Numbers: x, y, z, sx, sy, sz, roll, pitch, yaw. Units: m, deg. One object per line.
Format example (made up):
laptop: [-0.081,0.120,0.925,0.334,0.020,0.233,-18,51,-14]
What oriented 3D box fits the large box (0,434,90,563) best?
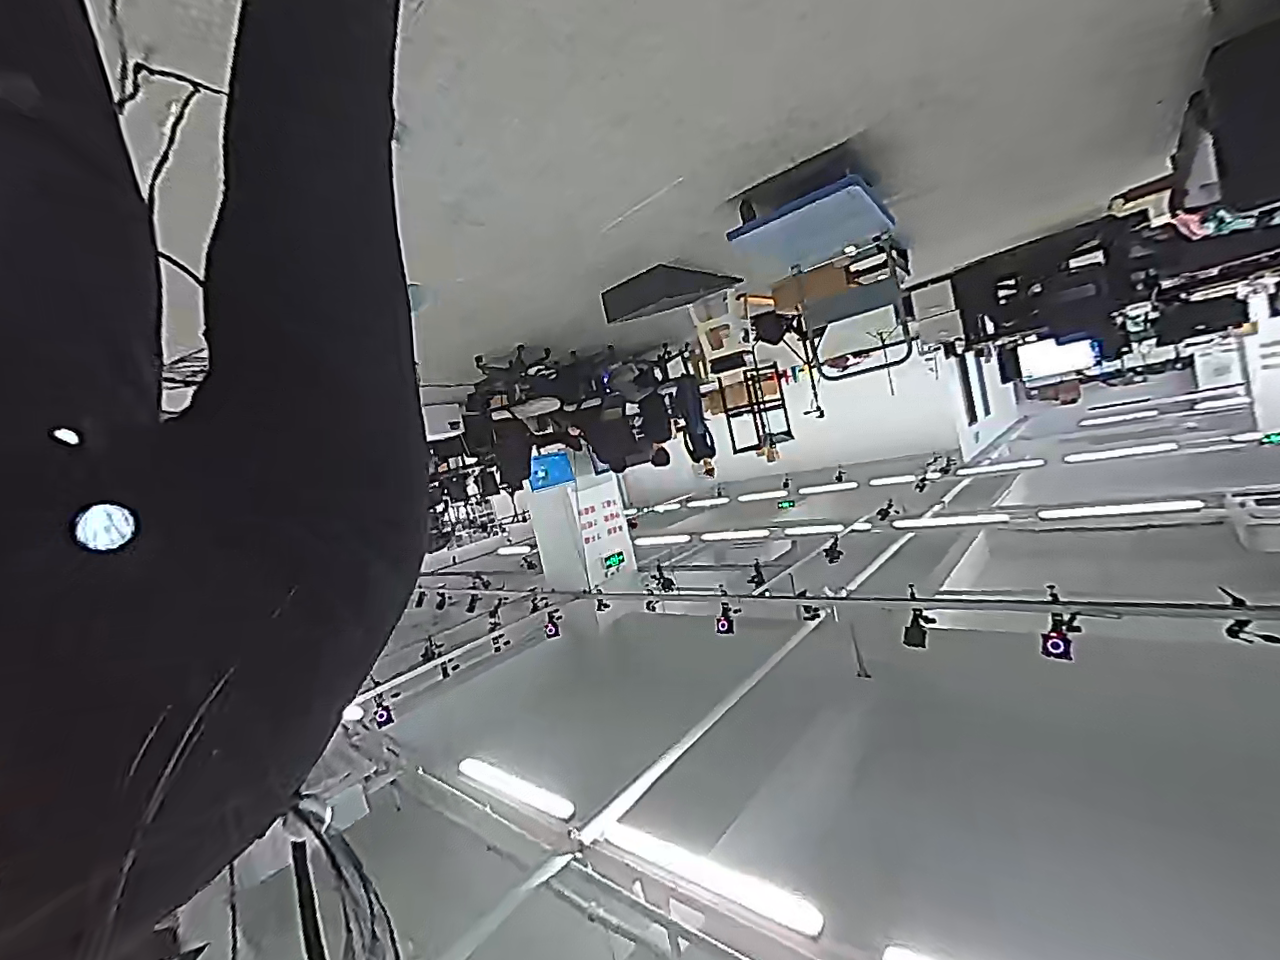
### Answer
large box: [-1.808,0.069,1.502,0.408,0.320,0.320,-9,-176,39]
